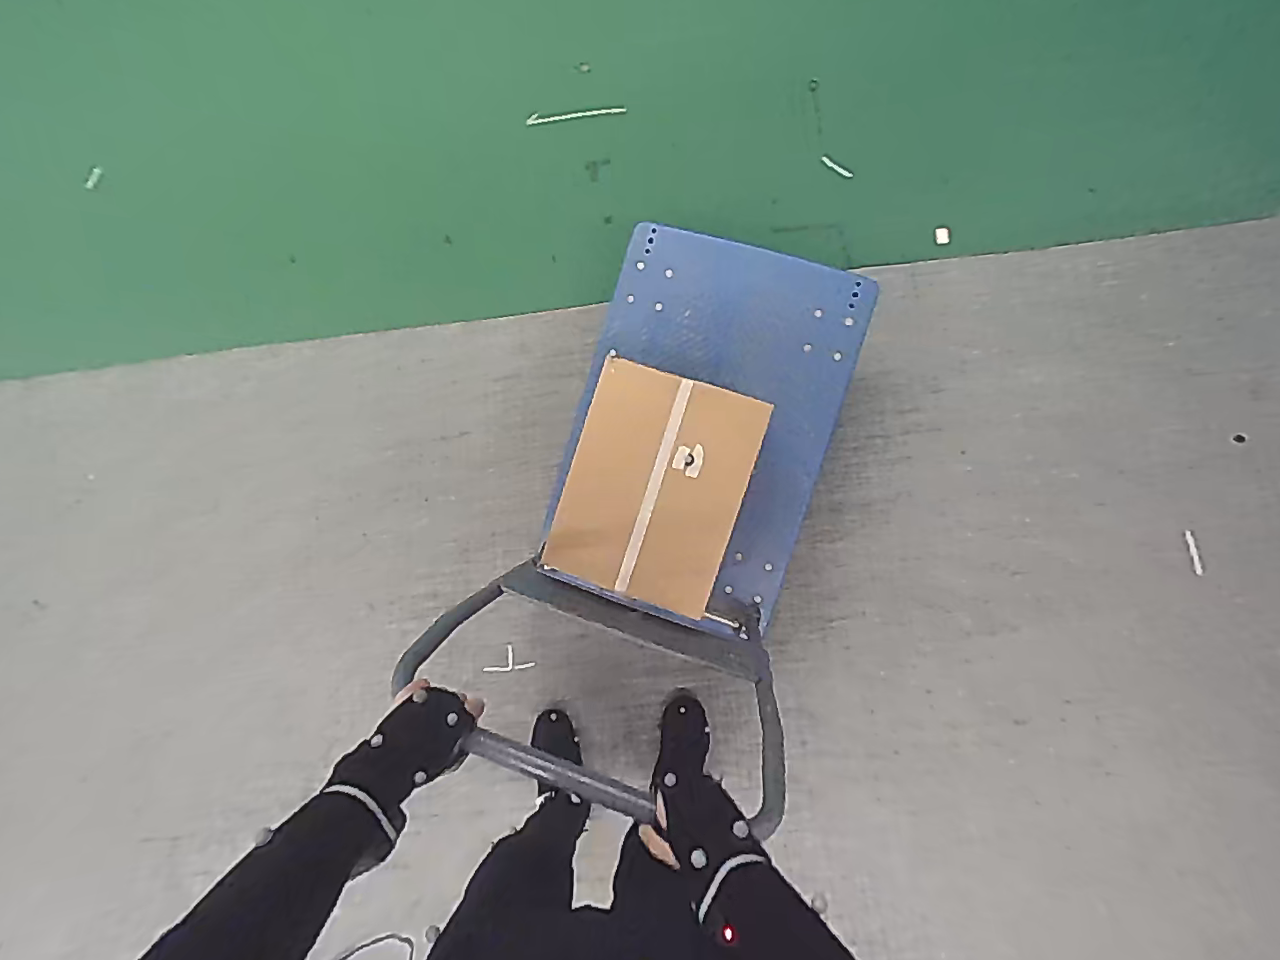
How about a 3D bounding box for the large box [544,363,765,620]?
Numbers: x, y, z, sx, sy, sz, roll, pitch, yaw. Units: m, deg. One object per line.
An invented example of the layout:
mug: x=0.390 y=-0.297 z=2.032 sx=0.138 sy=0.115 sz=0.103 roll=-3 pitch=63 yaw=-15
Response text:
large box: x=0.042 y=0.022 z=1.124 sx=0.320 sy=0.320 sz=0.408 roll=19 pitch=92 yaw=7
